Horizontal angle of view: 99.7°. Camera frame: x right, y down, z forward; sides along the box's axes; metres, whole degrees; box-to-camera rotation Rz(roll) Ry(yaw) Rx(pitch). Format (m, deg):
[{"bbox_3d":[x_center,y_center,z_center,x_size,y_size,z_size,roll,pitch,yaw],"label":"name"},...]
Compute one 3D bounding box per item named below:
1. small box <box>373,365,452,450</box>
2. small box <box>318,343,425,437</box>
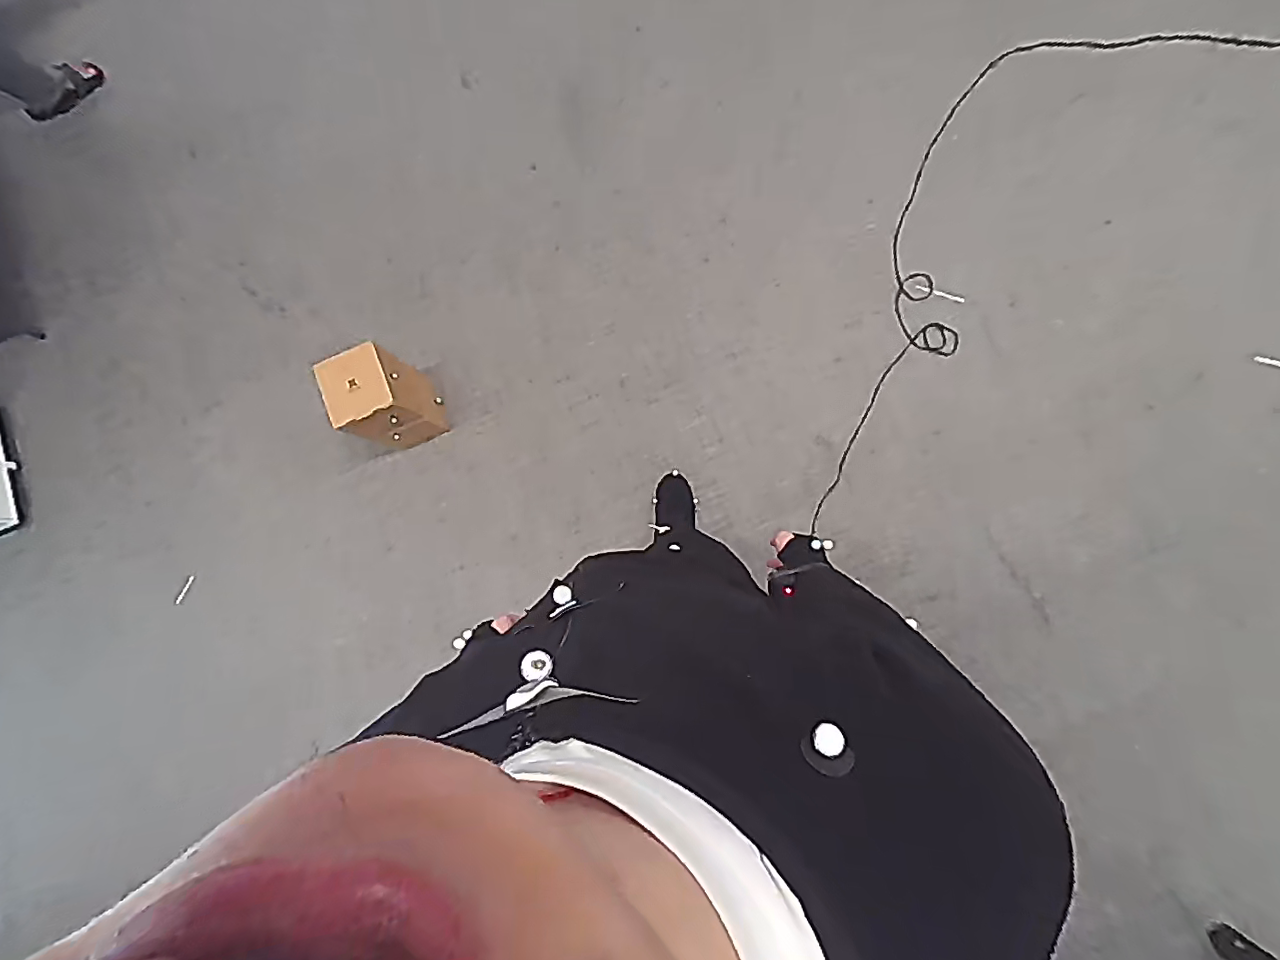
[{"bbox_3d":[-0.678,-0.204,1.575,0.168,0.176,0.179,-21,82,2],"label":"small box"},{"bbox_3d":[-0.693,-0.224,1.415,0.168,0.176,0.179,-23,81,1],"label":"small box"}]
